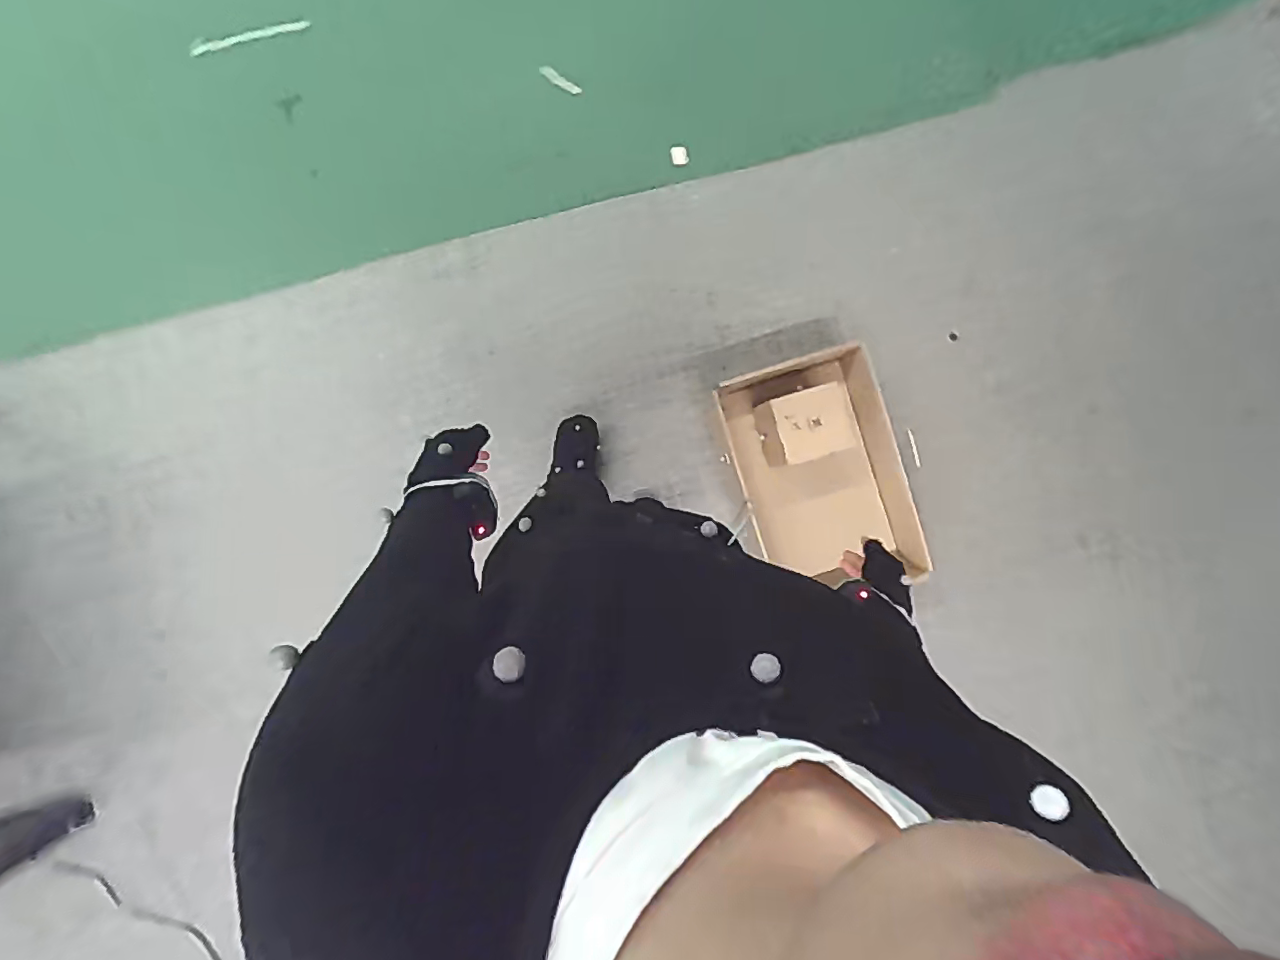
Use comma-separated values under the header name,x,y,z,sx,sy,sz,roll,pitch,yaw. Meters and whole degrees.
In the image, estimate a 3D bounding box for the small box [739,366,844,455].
name,x,y,z,sx,sy,sz,roll,pitch,yaw
small box,0.375,-0.170,1.365,0.179,0.176,0.168,-22,92,-3
